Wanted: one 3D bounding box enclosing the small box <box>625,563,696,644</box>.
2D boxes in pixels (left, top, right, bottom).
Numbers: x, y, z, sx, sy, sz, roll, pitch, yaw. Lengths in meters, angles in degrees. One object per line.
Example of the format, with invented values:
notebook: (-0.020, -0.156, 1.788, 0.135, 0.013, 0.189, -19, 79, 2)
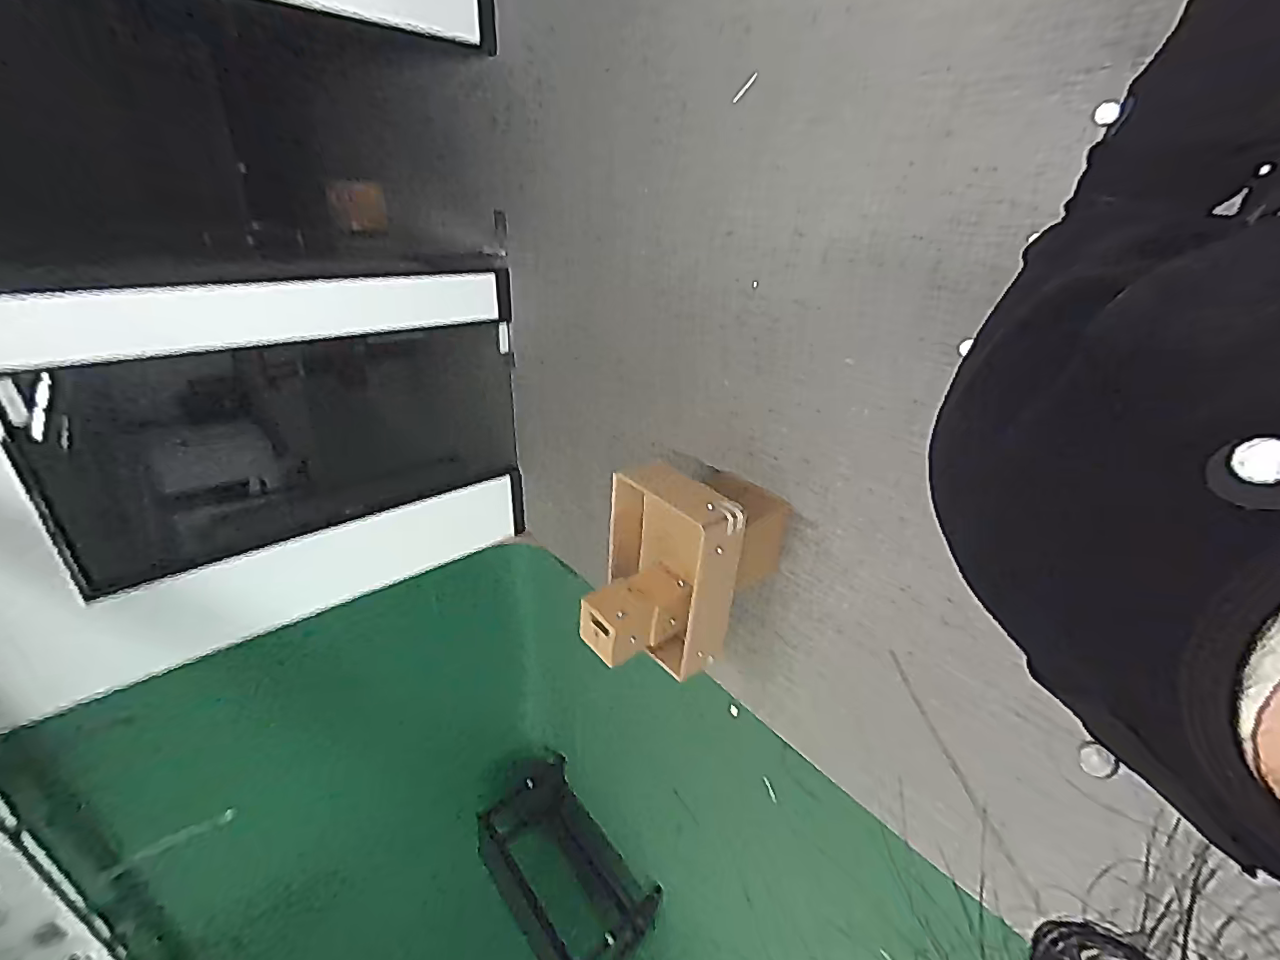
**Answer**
small box: (0.071, 0.407, 1.821, 0.168, 0.176, 0.179, 33, 129, 39)
